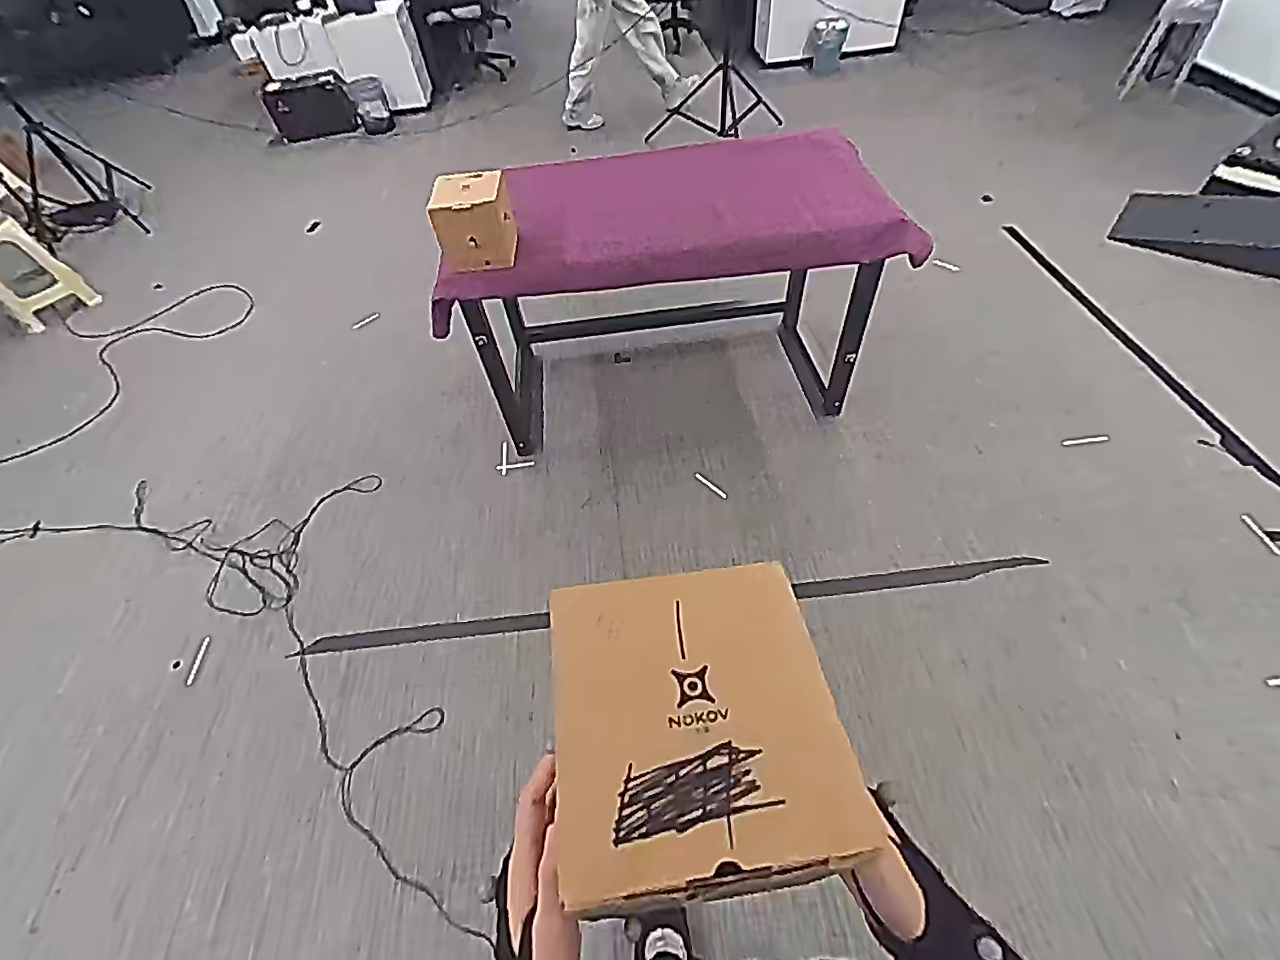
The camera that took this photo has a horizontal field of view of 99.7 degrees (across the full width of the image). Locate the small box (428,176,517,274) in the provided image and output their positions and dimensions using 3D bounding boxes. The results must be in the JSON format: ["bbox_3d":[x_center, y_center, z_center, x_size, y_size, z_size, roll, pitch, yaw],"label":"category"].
[{"bbox_3d":[-0.418,-0.645,1.381,0.168,0.176,0.179,-6,52,0],"label":"small box"}]

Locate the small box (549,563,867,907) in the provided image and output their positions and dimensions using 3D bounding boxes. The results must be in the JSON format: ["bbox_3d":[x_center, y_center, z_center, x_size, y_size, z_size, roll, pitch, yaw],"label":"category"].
[{"bbox_3d":[0.029,0.185,0.386,0.168,0.176,0.179,-6,49,-5],"label":"small box"}]
